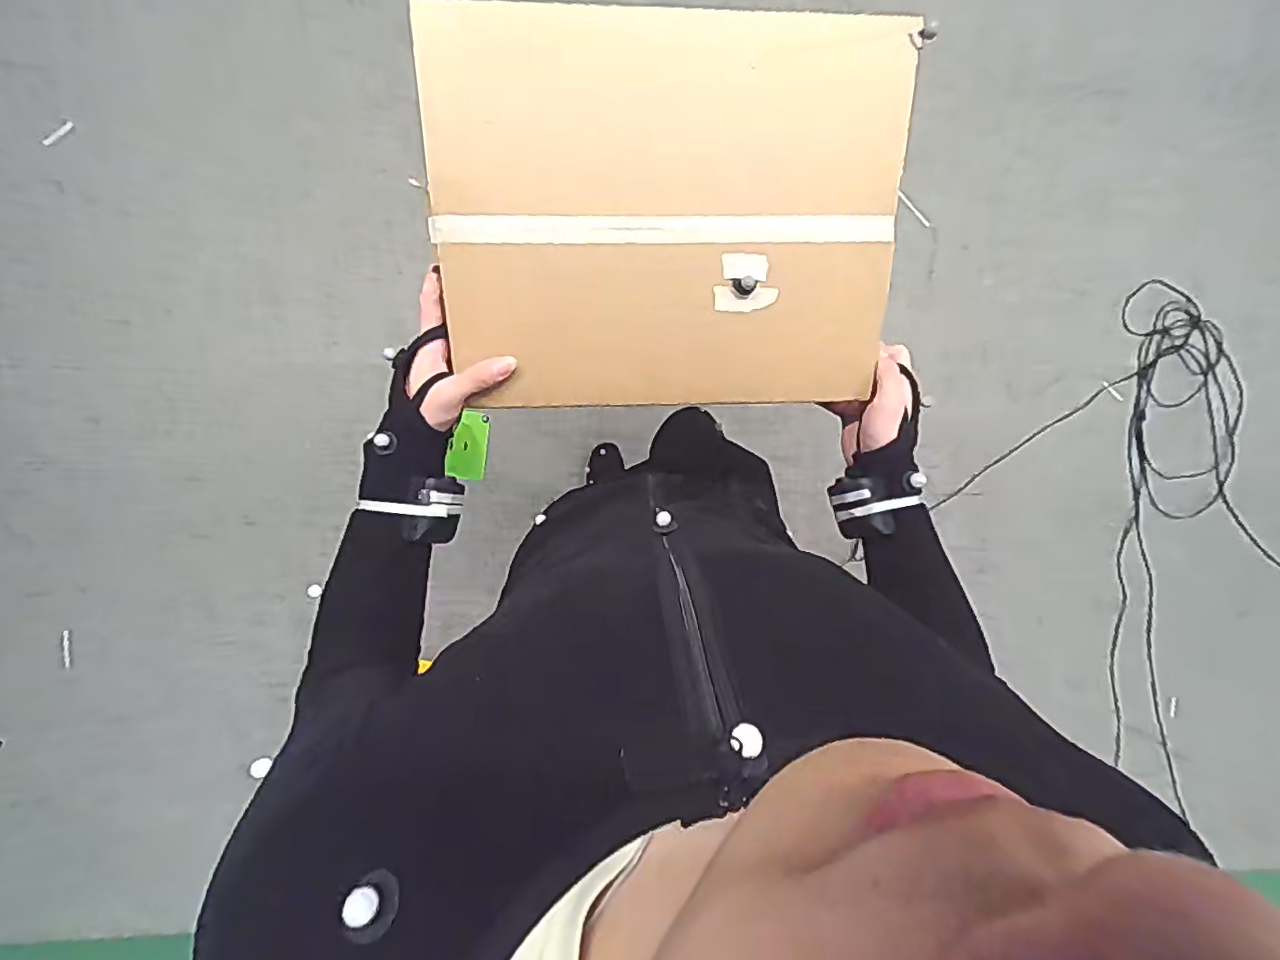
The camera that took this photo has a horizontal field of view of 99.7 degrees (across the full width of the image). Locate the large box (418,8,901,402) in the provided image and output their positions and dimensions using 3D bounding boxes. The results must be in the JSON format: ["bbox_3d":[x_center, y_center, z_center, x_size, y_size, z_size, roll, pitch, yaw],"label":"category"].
[{"bbox_3d":[0.011,-0.278,0.623,0.408,0.320,0.320,-2,110,-5],"label":"large box"}]

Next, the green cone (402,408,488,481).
[{"bbox_3d":[-0.537,-0.089,1.399,0.200,0.368,0.202,6,94,-5],"label":"green cone"}]
